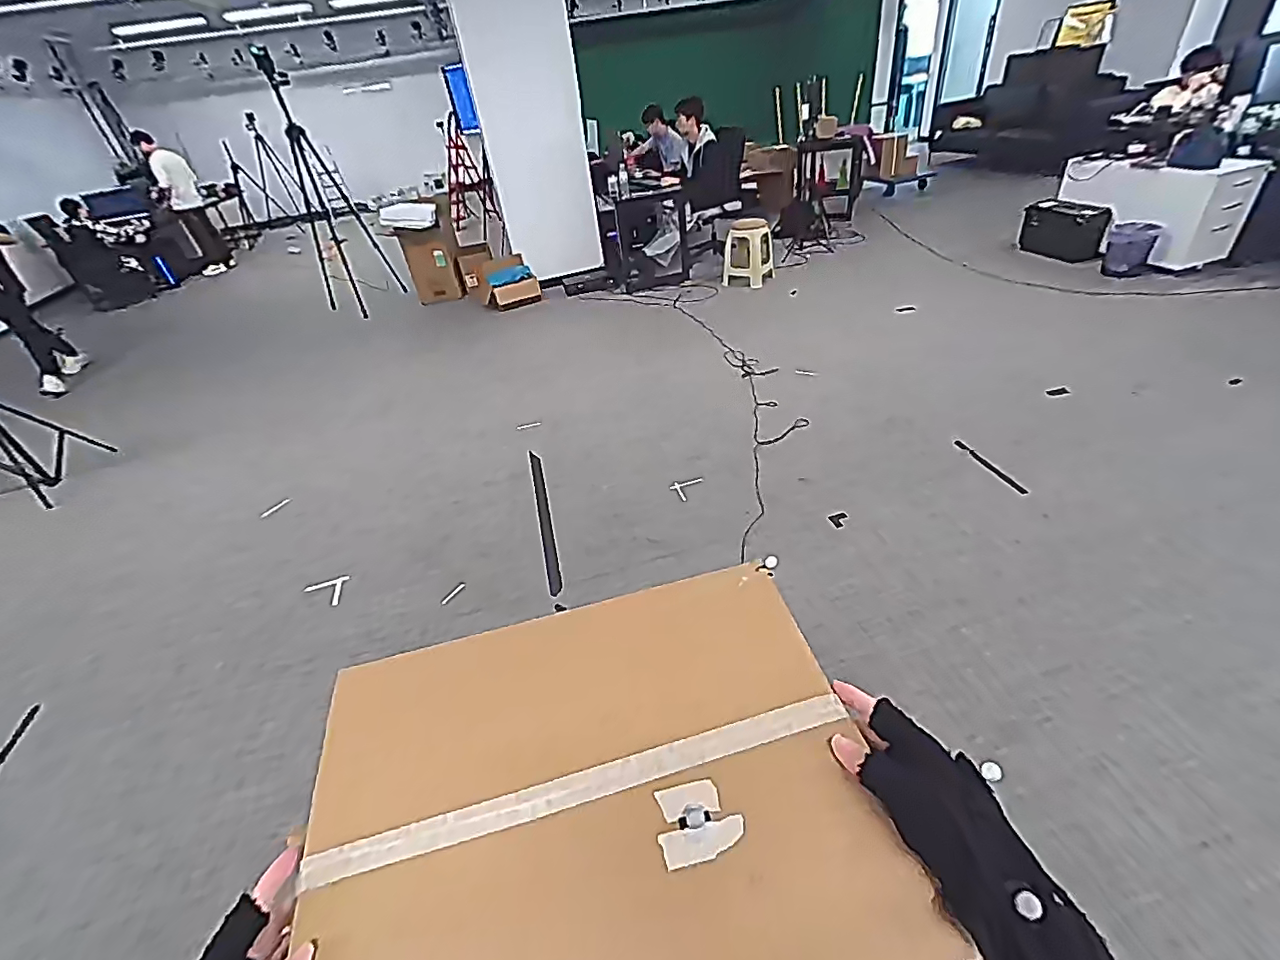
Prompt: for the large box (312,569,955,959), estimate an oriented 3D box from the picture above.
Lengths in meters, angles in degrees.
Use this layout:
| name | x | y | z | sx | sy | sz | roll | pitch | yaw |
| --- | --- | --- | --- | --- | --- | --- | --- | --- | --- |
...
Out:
| name | x | y | z | sx | sy | sz | roll | pitch | yaw |
| --- | --- | --- | --- | --- | --- | --- | --- | --- | --- |
| large box | -0.022 | 0.341 | 0.510 | 0.408 | 0.320 | 0.320 | -13 | 43 | -8 |
